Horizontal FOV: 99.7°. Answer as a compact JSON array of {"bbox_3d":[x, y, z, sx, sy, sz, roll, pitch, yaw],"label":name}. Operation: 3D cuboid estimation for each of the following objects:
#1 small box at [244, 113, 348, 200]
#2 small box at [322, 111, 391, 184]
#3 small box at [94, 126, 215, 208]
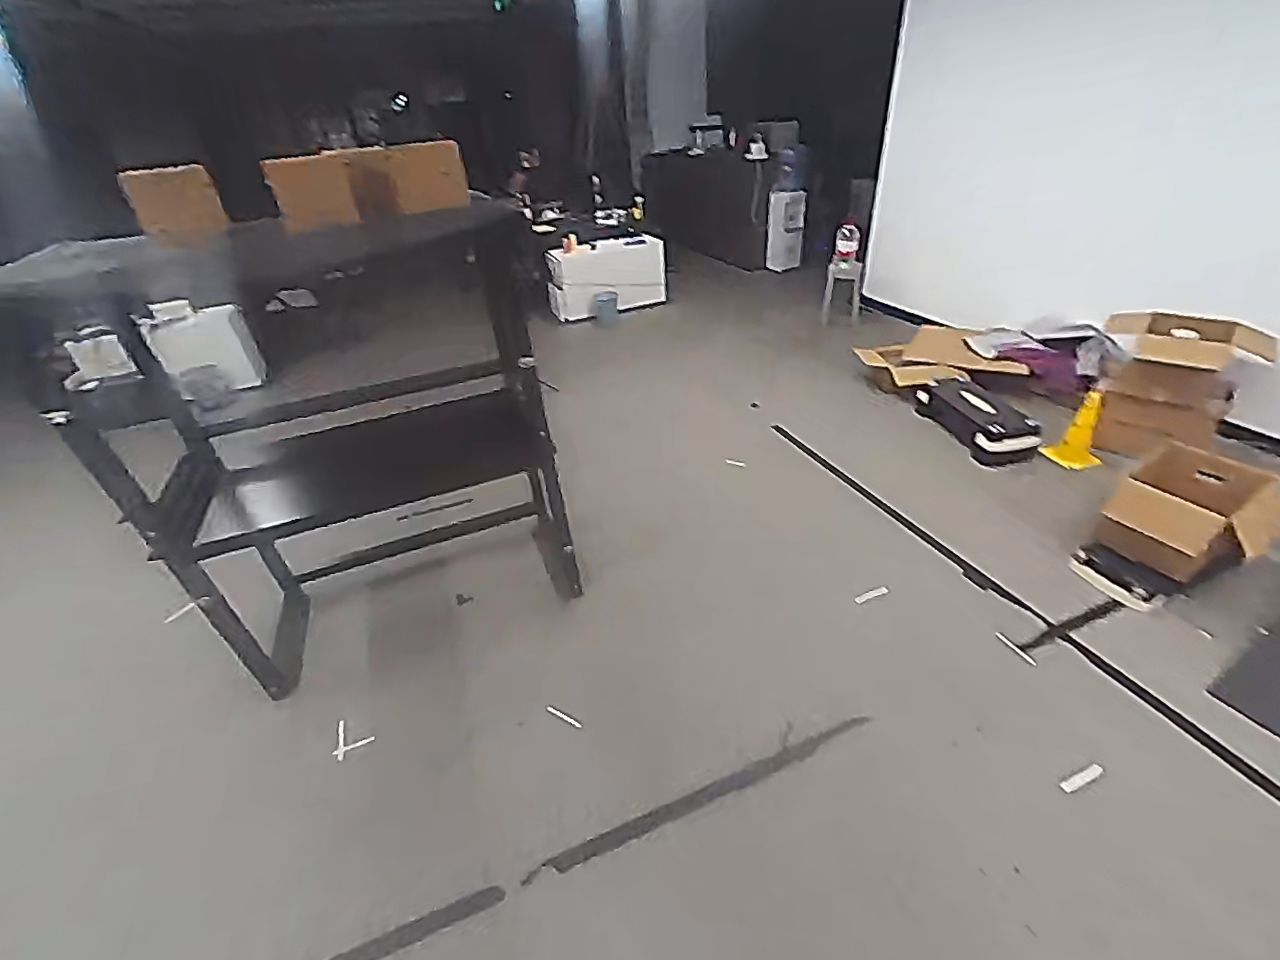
[{"bbox_3d":[-0.845,-0.801,1.342,0.168,0.176,0.179,-20,38,-20],"label":"small box"},{"bbox_3d":[-0.833,-0.958,1.561,0.168,0.176,0.179,-16,37,-15],"label":"small box"},{"bbox_3d":[-1.267,-0.826,1.428,0.168,0.176,0.179,-19,37,-19],"label":"small box"}]
